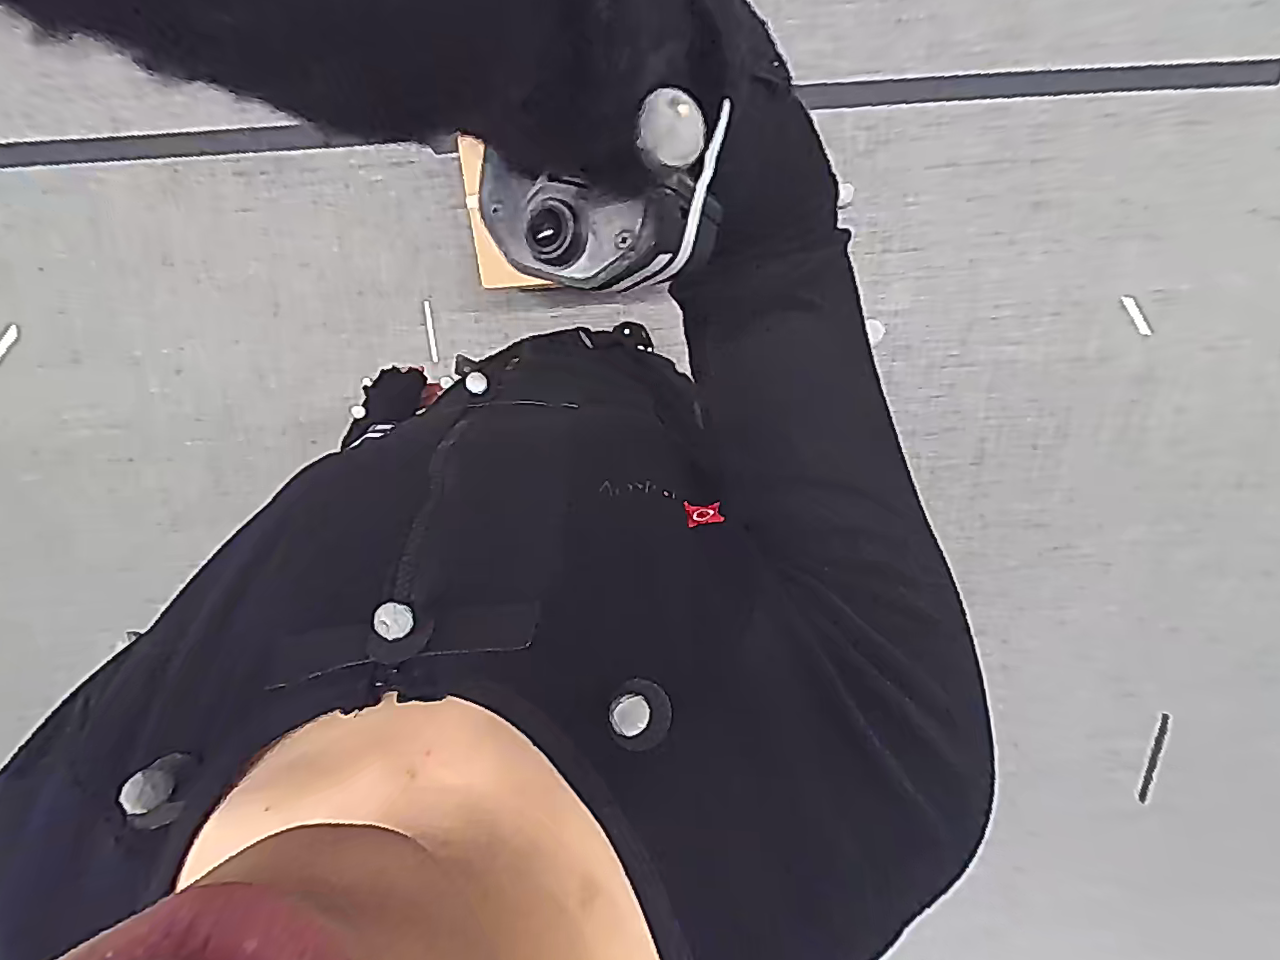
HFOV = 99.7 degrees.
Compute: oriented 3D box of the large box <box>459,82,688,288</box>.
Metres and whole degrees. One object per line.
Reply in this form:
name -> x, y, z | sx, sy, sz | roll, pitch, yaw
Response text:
large box -> -0.123, -0.596, 1.156 | 0.408, 0.320, 0.320 | -5, 109, -1
